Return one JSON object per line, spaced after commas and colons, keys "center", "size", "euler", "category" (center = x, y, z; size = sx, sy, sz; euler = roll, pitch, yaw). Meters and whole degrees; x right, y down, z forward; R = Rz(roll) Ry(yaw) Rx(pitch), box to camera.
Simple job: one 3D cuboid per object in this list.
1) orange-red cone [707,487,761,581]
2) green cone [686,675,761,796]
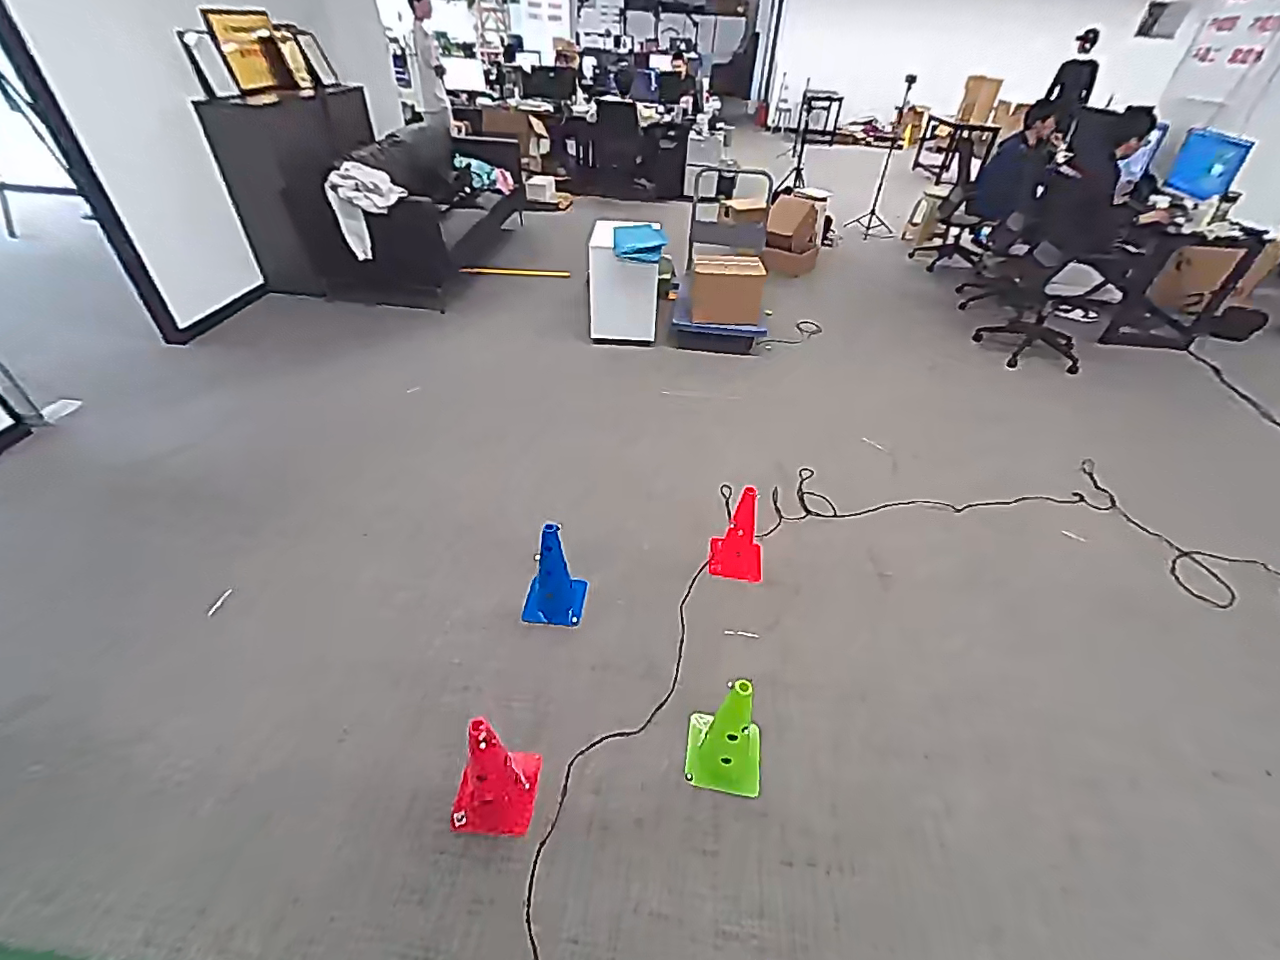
{"center": [0.362, 0.170, 1.950], "size": [0.198, 0.360, 0.199], "euler": [8, 41, 8], "category": "orange-red cone"}
{"center": [0.241, 0.623, 1.389], "size": [0.200, 0.368, 0.202], "euler": [8, 39, 5], "category": "green cone"}
